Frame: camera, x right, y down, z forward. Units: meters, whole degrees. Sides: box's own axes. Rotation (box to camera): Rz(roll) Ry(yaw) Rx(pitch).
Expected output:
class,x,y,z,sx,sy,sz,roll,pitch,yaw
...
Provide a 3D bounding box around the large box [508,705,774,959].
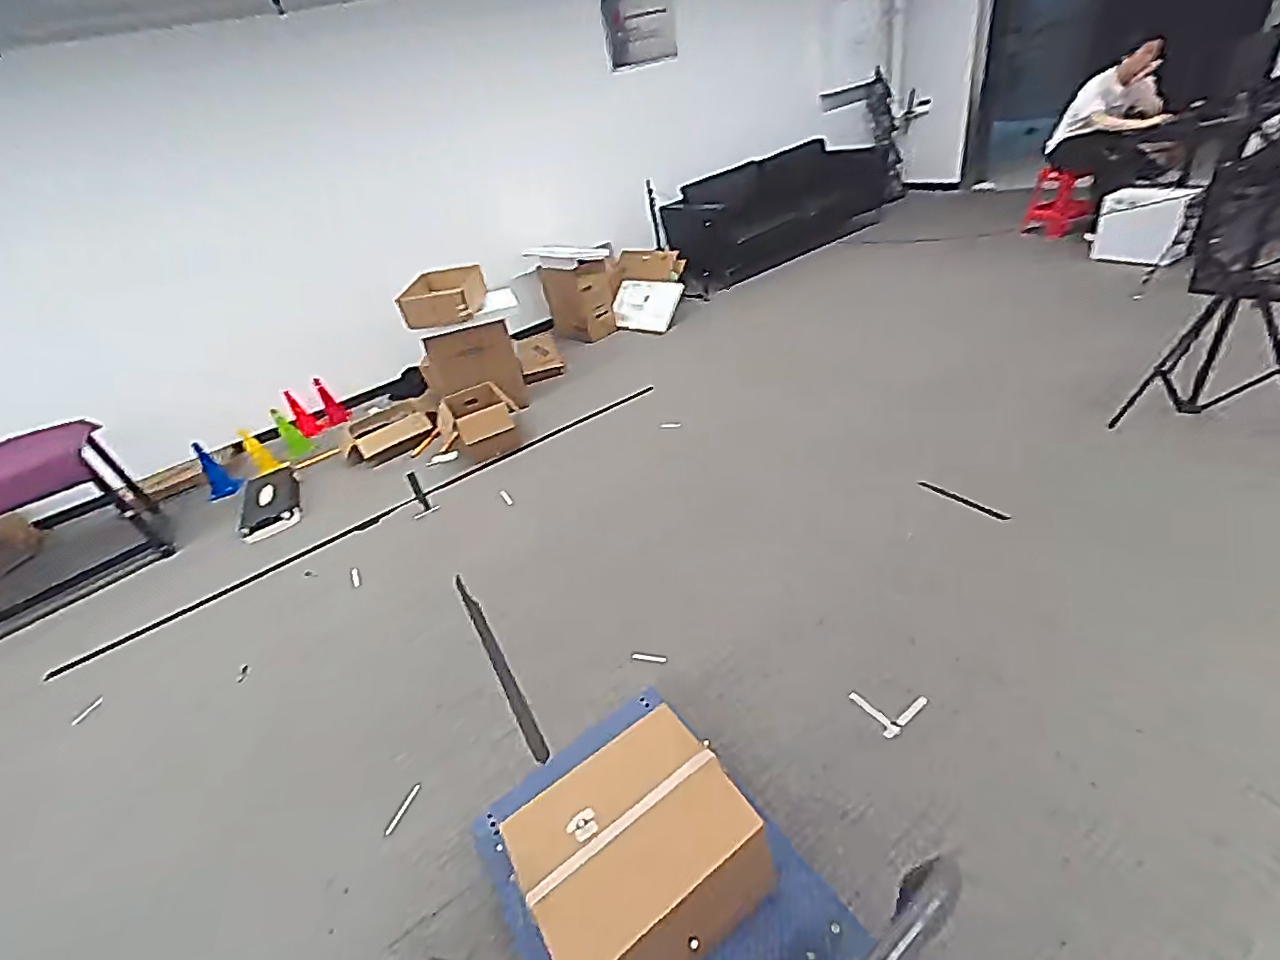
class,x,y,z,sx,sy,sz,roll,pitch,yaw
large box,0.014,0.762,1.096,0.408,0.320,0.320,-30,36,-20
